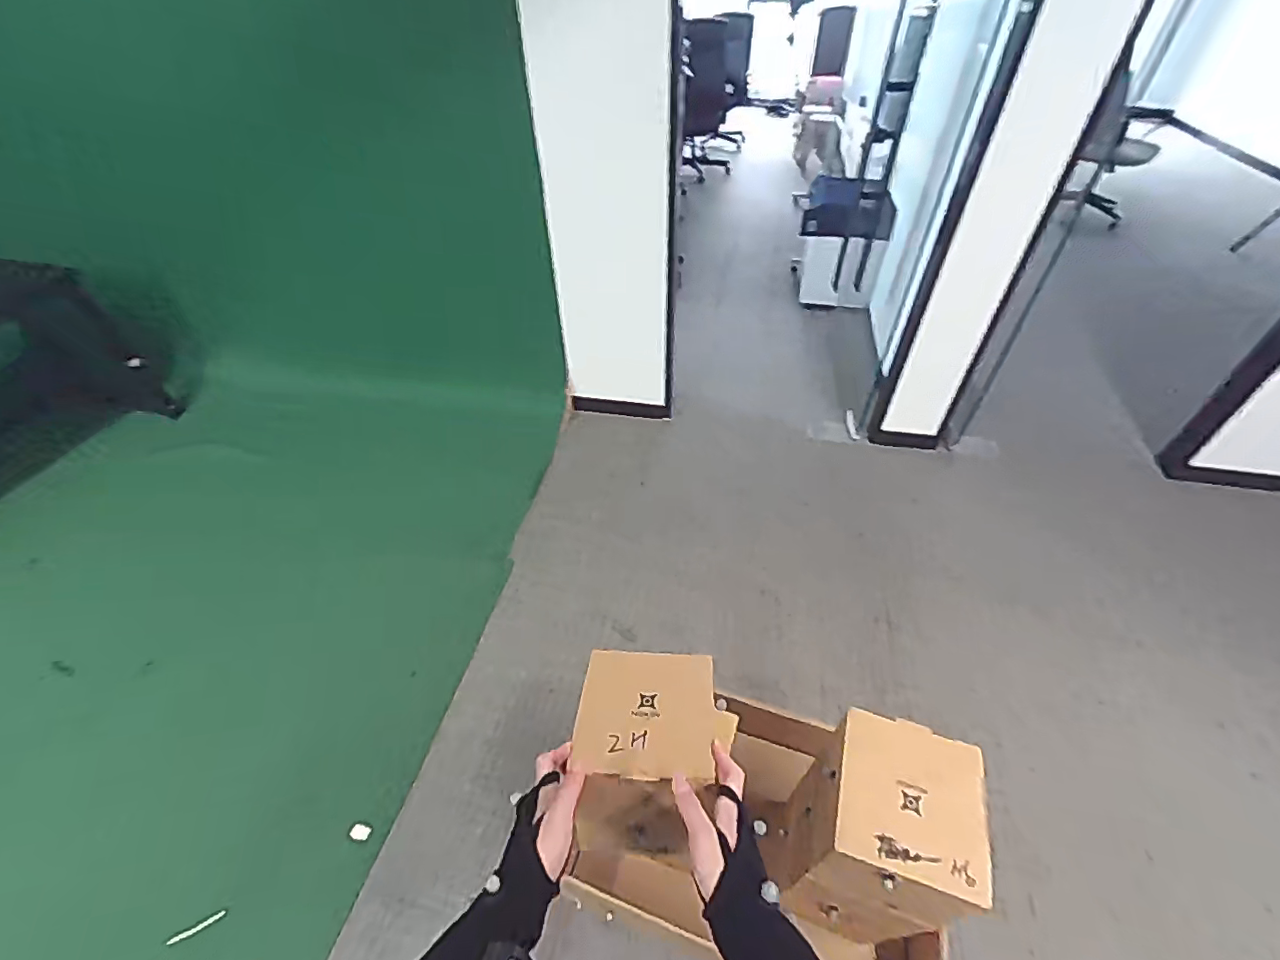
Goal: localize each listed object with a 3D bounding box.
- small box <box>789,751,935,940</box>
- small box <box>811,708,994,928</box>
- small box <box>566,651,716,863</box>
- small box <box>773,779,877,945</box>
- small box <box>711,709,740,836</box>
[{"bbox_3d":[0.331,0.553,0.819,0.168,0.176,0.179,14,48,16],"label":"small box"},{"bbox_3d":[0.329,0.437,0.703,0.168,0.176,0.179,13,47,16],"label":"small box"},{"bbox_3d":[0.008,0.346,0.692,0.168,0.176,0.179,1,31,5],"label":"small box"},{"bbox_3d":[0.335,0.664,0.938,0.168,0.176,0.179,15,47,15],"label":"small box"},{"bbox_3d":[0.057,0.481,0.899,0.168,0.176,0.179,15,47,15],"label":"small box"}]
